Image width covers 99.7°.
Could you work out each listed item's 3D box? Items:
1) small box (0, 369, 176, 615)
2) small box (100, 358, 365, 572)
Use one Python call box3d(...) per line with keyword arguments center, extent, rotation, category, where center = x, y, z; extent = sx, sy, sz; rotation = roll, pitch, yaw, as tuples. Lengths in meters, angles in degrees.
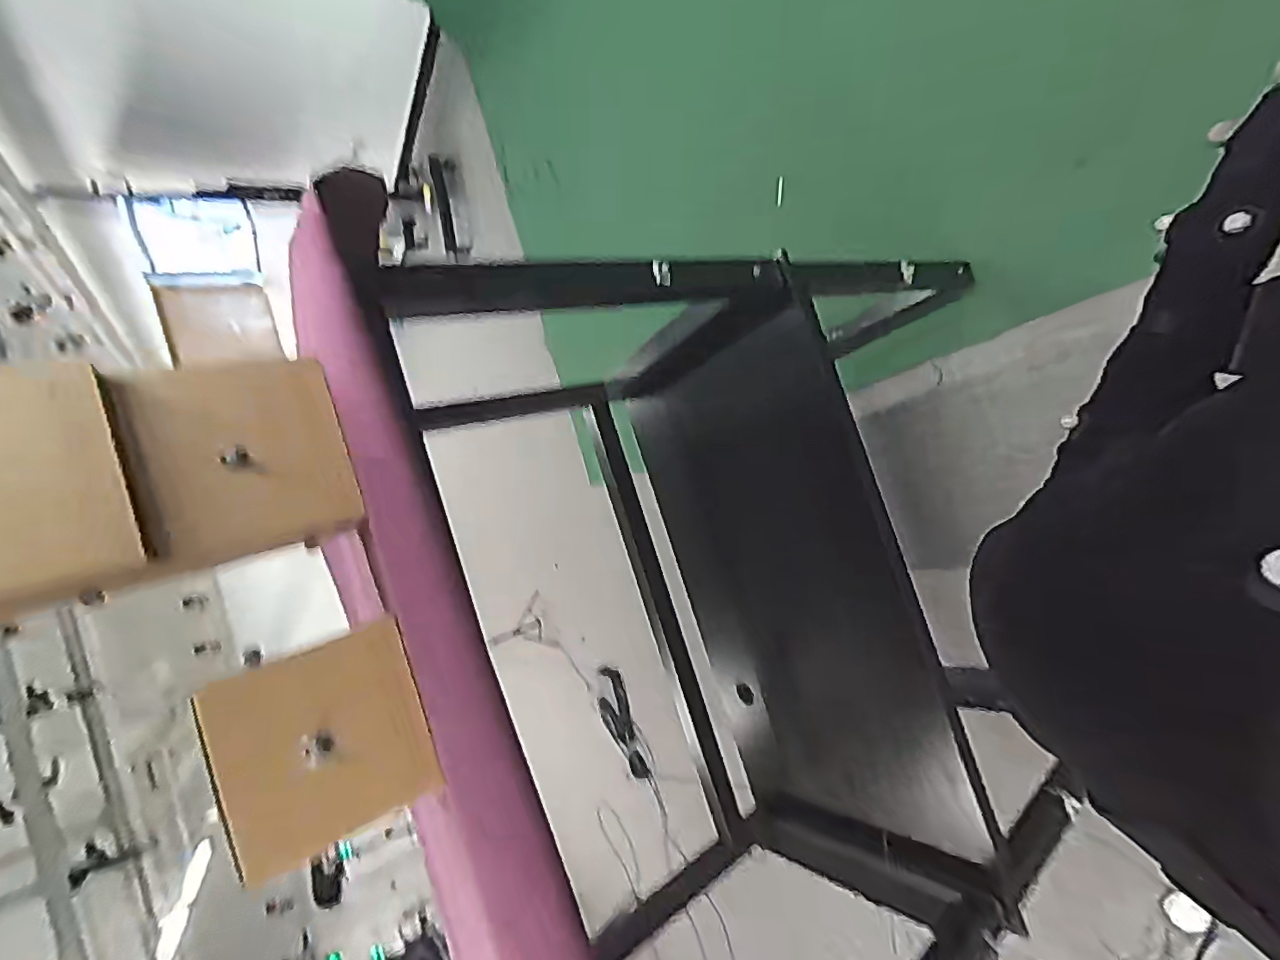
box3d(center=(-0.531, 0.016, 0.460), extent=(0.168, 0.176, 0.179), rotation=(-23, 85, 56), category="small box")
box3d(center=(-0.411, -0.018, 0.569), extent=(0.168, 0.176, 0.179), rotation=(-22, 87, 56), category="small box")
